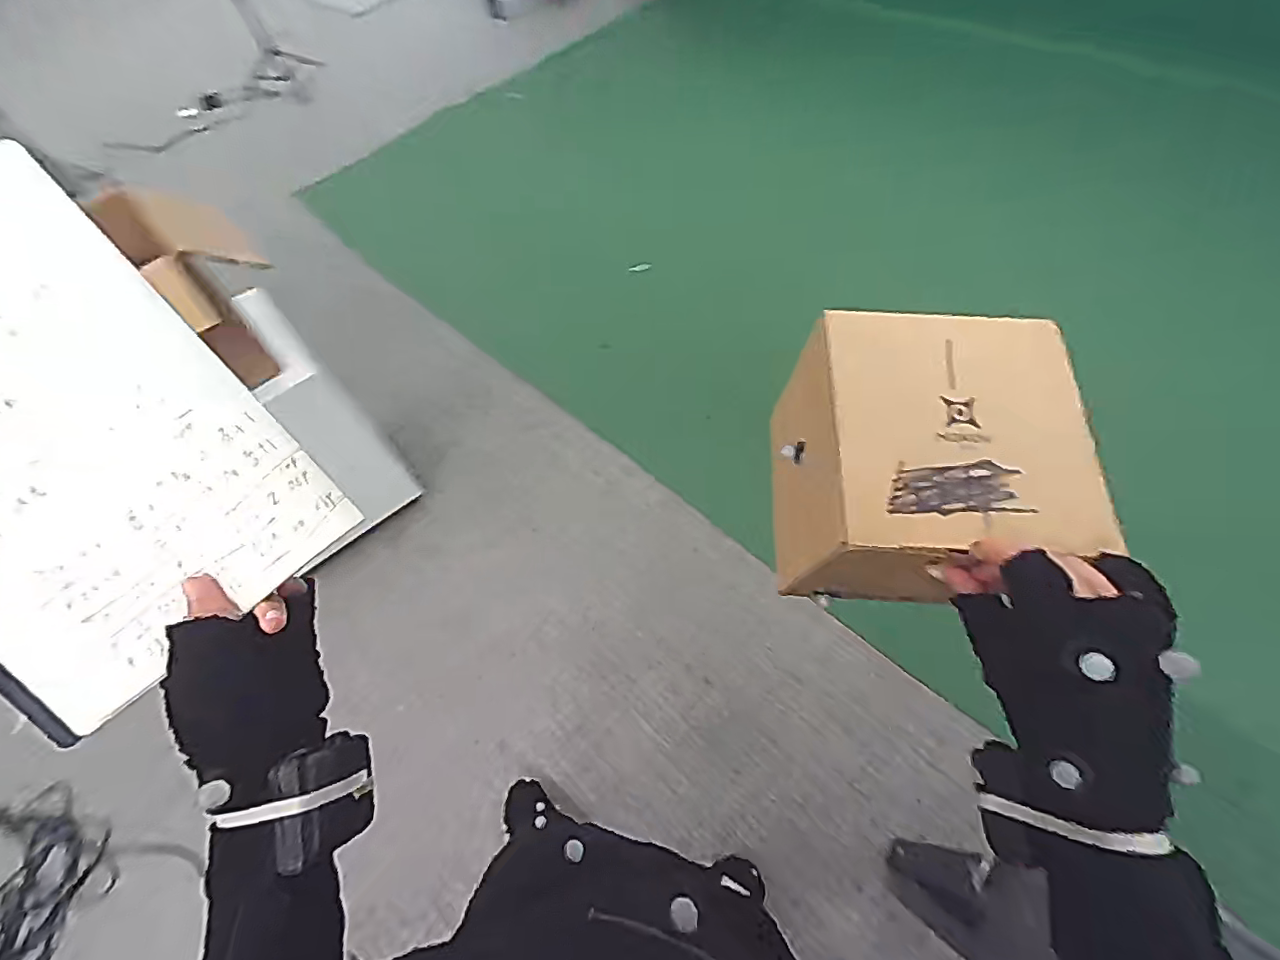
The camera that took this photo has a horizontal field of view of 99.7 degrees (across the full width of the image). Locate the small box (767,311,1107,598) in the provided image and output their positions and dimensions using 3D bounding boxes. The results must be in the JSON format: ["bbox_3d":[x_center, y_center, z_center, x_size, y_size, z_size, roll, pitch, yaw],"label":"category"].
[{"bbox_3d":[0.202,-0.008,0.430,0.168,0.176,0.179,3,67,0],"label":"small box"}]
